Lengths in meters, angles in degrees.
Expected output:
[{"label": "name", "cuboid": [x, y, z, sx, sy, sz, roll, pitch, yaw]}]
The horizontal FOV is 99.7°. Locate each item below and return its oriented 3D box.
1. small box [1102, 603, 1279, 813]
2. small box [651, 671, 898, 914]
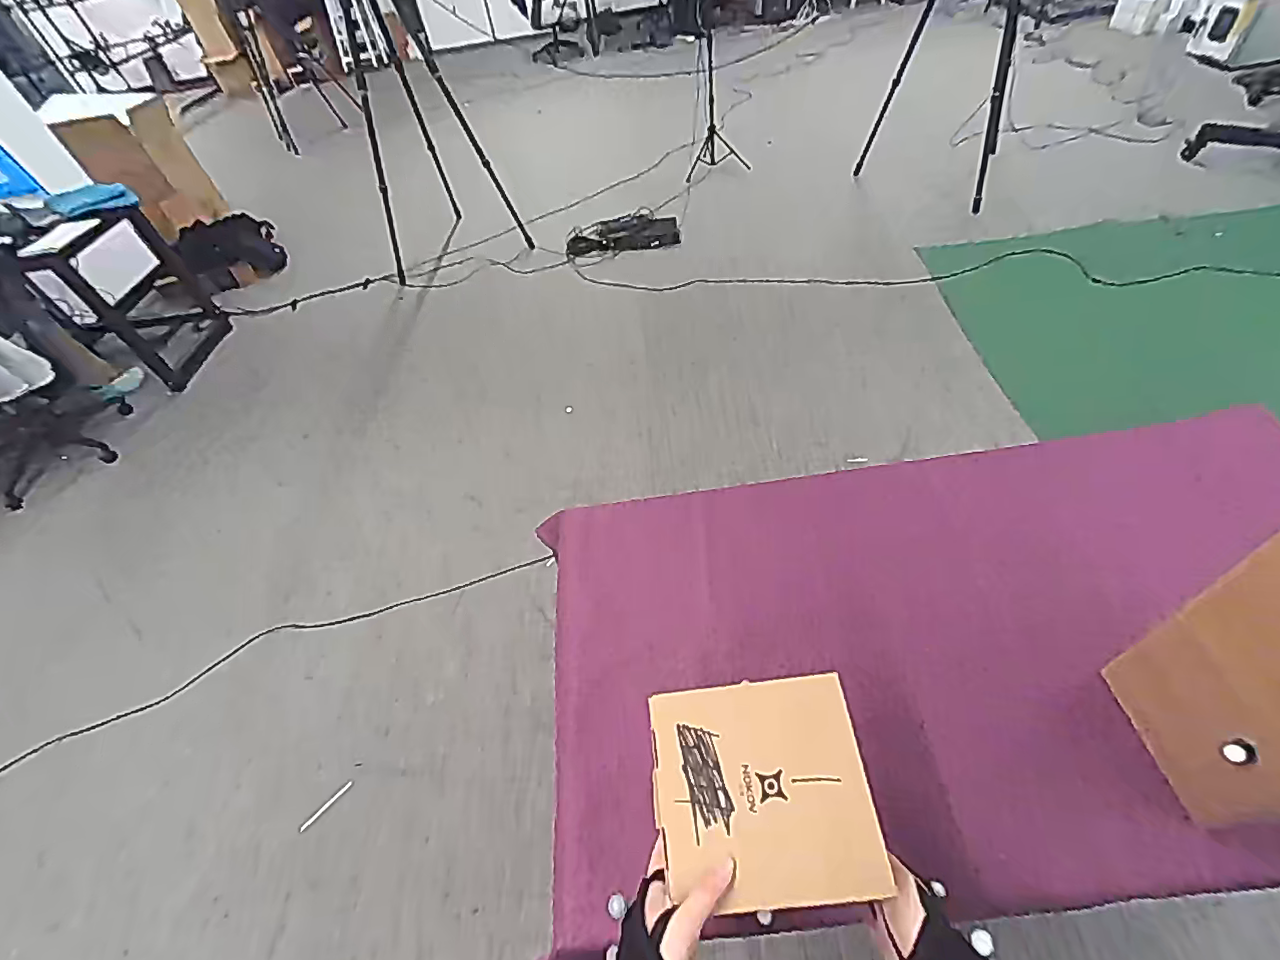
[{"label": "small box", "cuboid": [0.658, 0.239, 0.572, 0.168, 0.176, 0.179, -7, 49, 3]}, {"label": "small box", "cuboid": [0.113, 0.294, 0.518, 0.179, 0.176, 0.168, -9, 59, 3]}]
